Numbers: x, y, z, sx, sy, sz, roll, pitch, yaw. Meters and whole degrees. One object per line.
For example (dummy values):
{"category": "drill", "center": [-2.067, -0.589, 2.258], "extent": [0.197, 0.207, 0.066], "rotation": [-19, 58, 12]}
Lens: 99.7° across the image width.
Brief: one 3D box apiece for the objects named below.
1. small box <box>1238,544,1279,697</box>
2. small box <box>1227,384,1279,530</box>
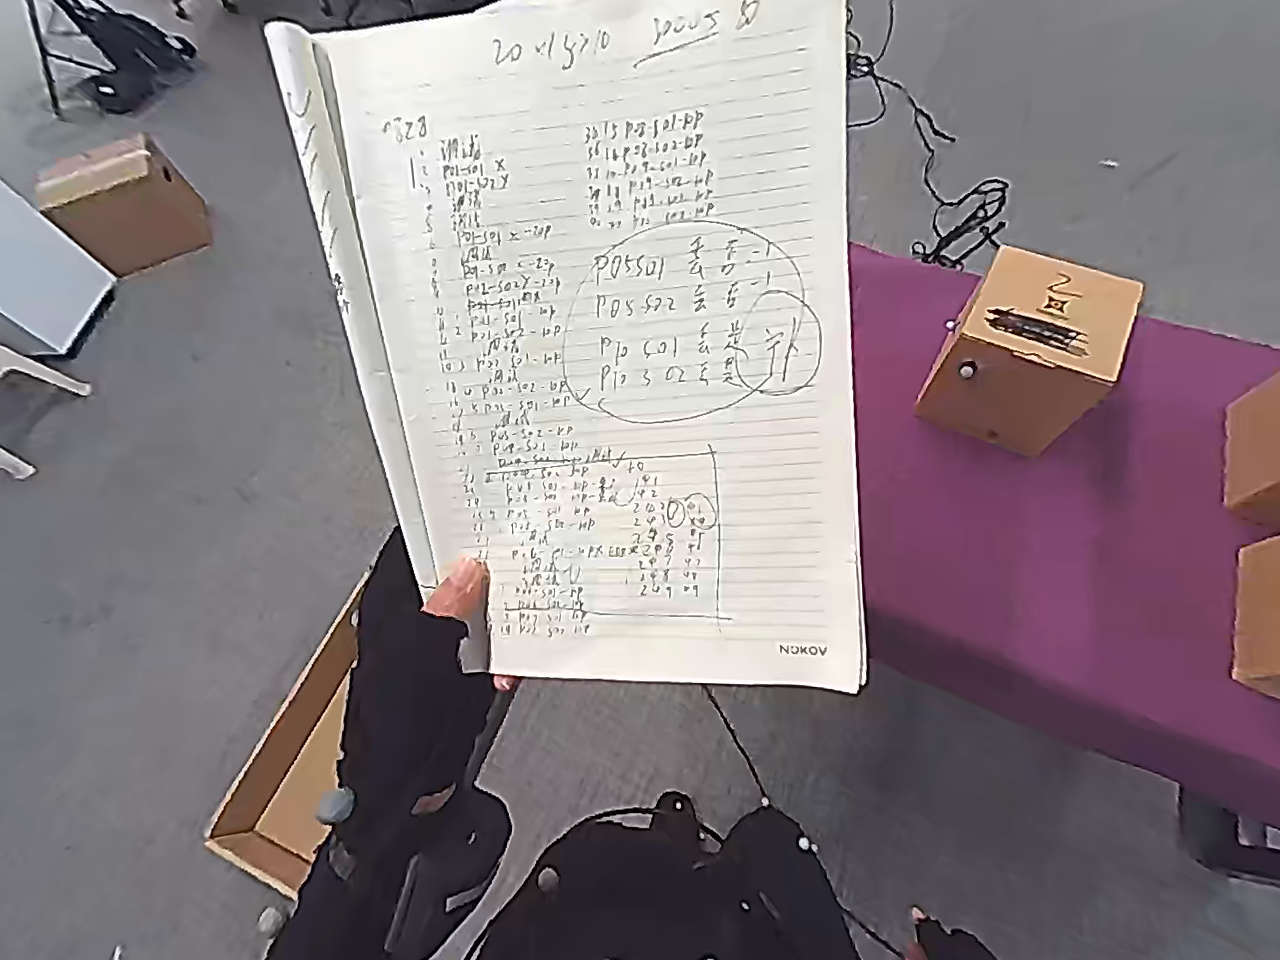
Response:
{"category": "small box", "center": [0.758, 0.153, 0.530], "extent": [0.168, 0.176, 0.179], "rotation": [25, 68, 17]}
{"category": "small box", "center": [0.840, -0.036, 0.619], "extent": [0.168, 0.176, 0.179], "rotation": [22, 67, 16]}
